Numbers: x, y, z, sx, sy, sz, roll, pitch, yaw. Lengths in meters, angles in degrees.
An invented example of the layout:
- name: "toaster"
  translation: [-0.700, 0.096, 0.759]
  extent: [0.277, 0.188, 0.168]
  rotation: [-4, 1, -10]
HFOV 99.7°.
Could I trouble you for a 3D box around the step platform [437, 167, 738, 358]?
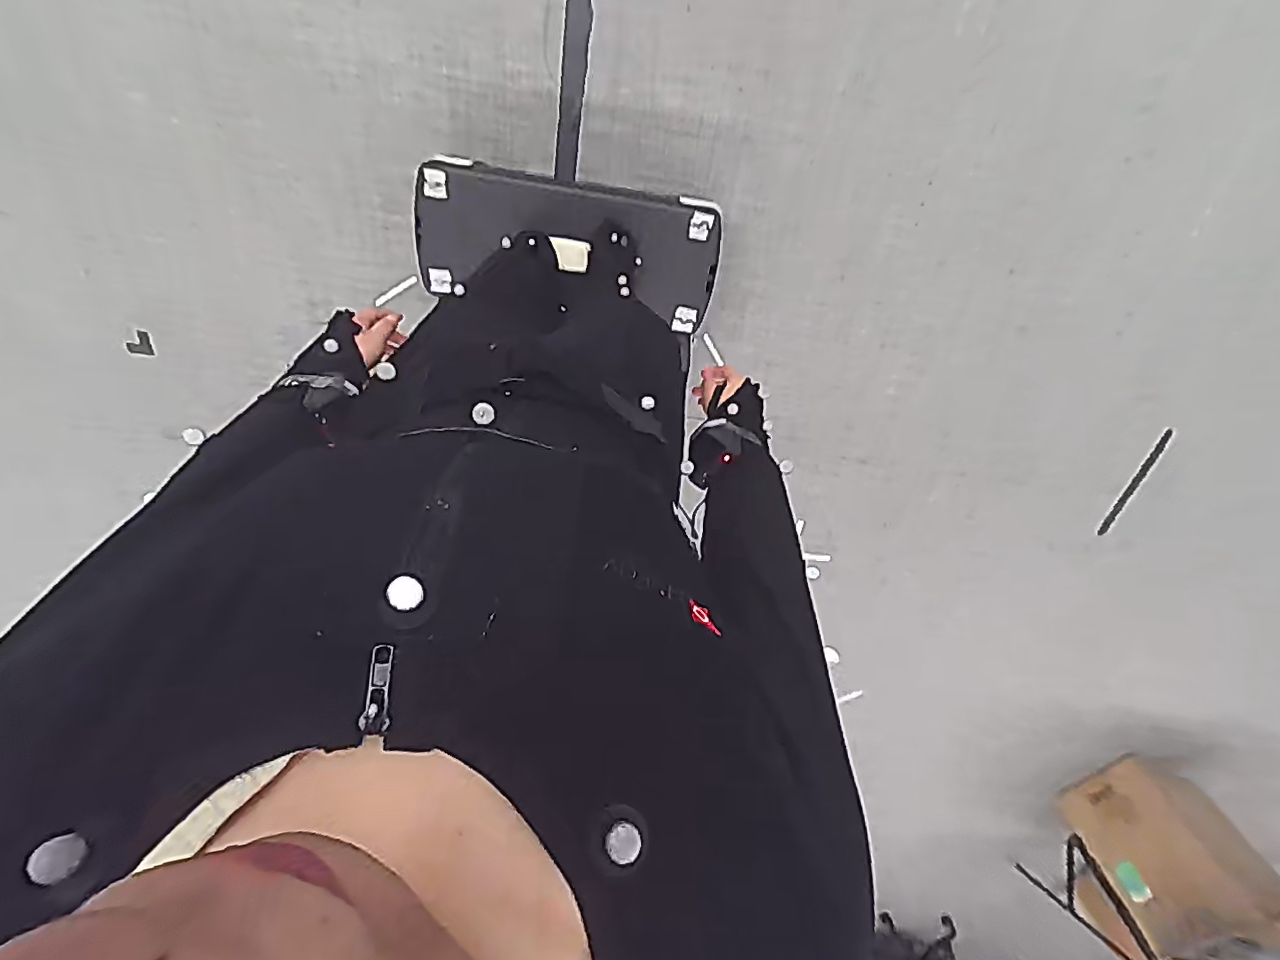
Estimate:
- name: "step platform"
  translation: [-0.119, -0.507, 1.284]
  extent: [0.684, 0.204, 0.286]
  rotation: [11, 119, -7]
